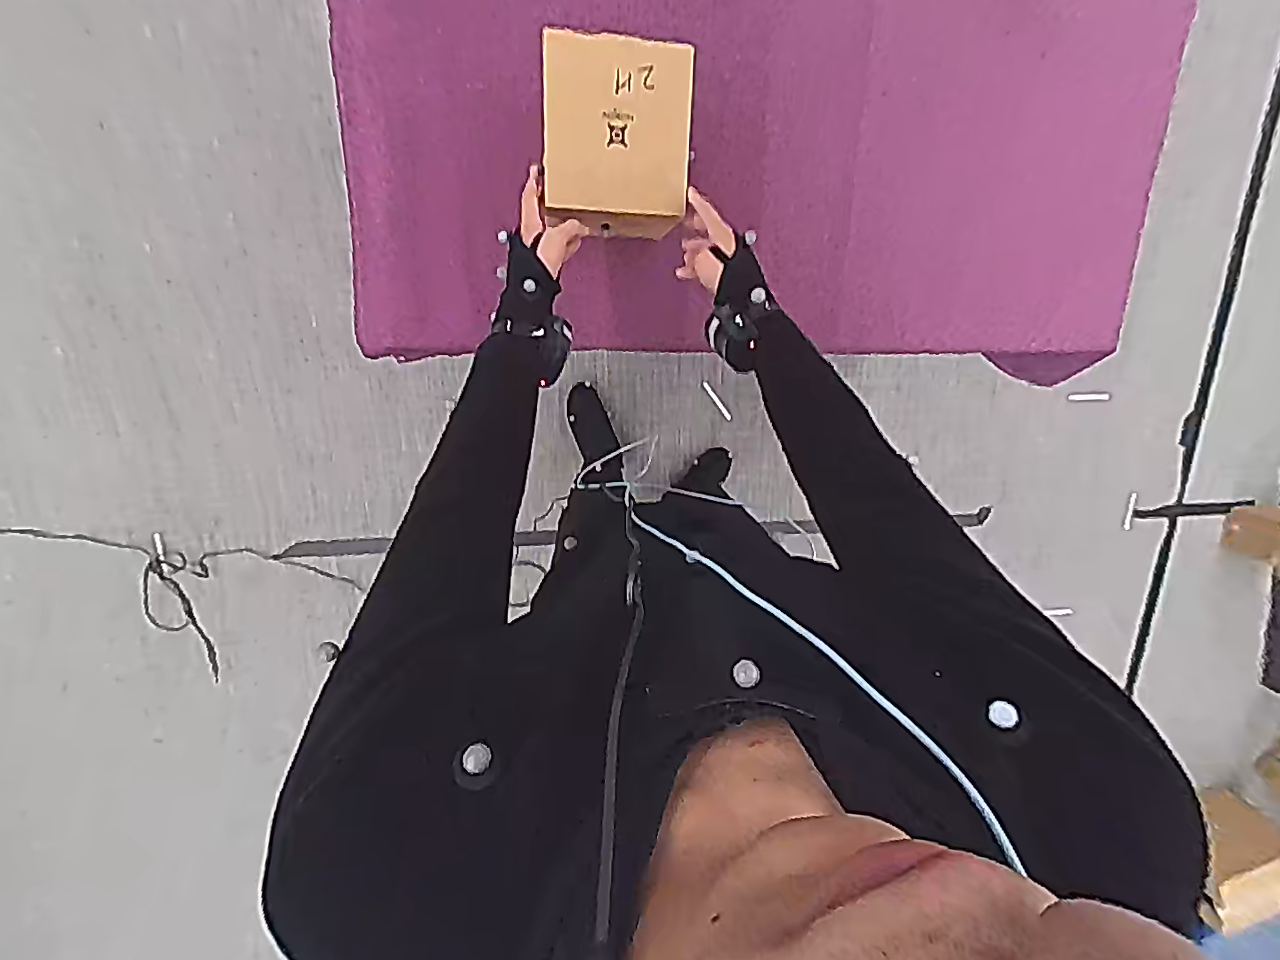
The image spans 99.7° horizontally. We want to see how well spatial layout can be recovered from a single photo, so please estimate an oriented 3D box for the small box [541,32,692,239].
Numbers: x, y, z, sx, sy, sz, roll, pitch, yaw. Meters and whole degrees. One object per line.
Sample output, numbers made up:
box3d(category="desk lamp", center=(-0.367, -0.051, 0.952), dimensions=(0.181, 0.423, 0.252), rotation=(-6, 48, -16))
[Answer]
box3d(category="small box", center=(-0.038, -0.412, 0.683), dimensions=(0.168, 0.176, 0.179), rotation=(0, 105, -9))
